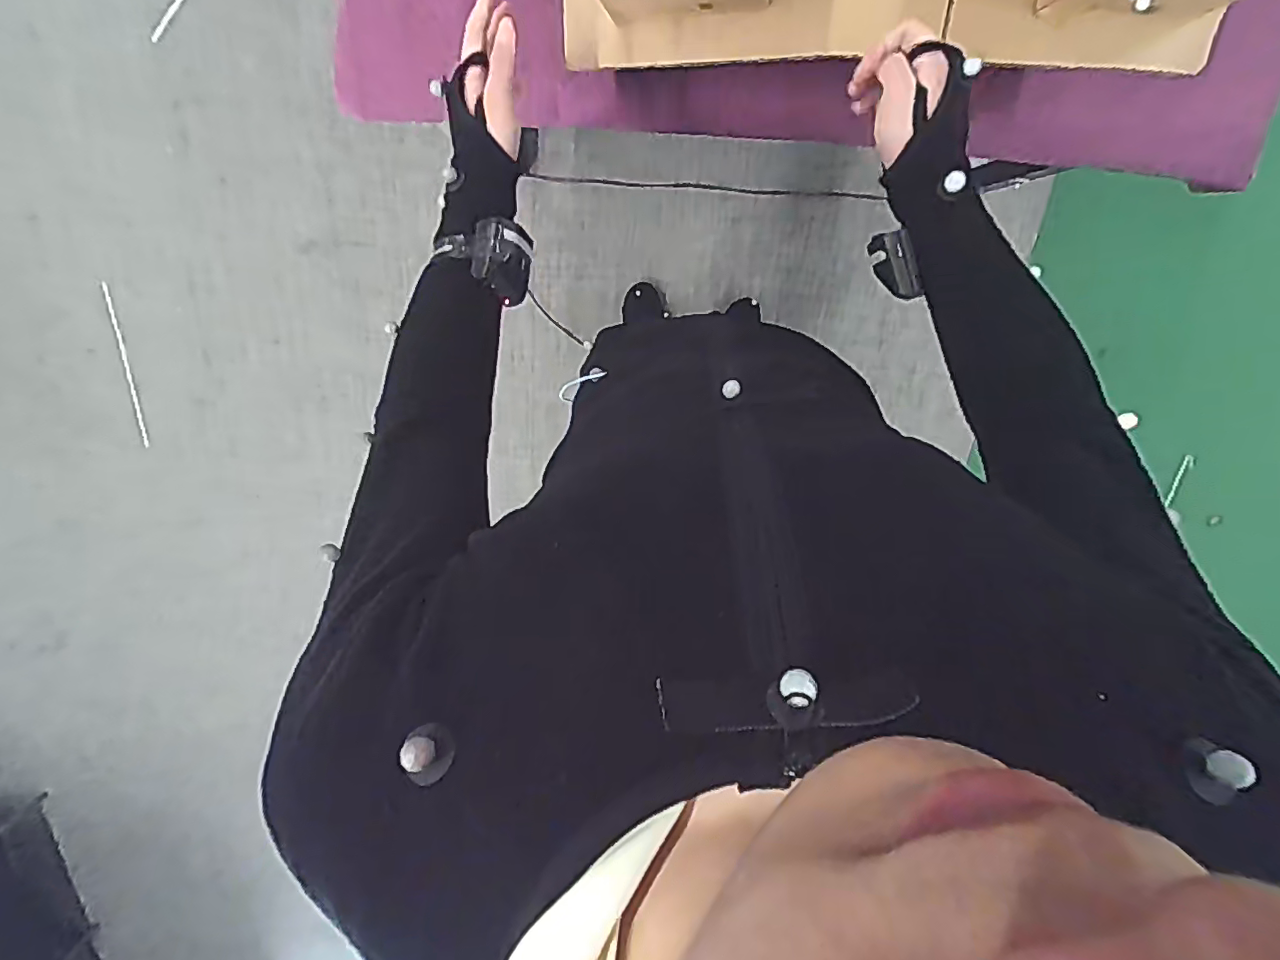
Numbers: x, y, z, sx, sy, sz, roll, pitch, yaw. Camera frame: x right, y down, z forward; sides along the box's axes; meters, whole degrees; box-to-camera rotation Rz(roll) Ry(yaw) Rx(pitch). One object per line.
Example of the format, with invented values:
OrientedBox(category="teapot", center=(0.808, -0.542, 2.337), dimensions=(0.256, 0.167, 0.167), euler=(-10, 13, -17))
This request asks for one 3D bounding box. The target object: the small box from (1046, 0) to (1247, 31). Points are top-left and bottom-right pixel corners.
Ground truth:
OrientedBox(category="small box", center=(0.486, -0.516, 0.445), dimensions=(0.168, 0.176, 0.179), euler=(0, 111, -3))
